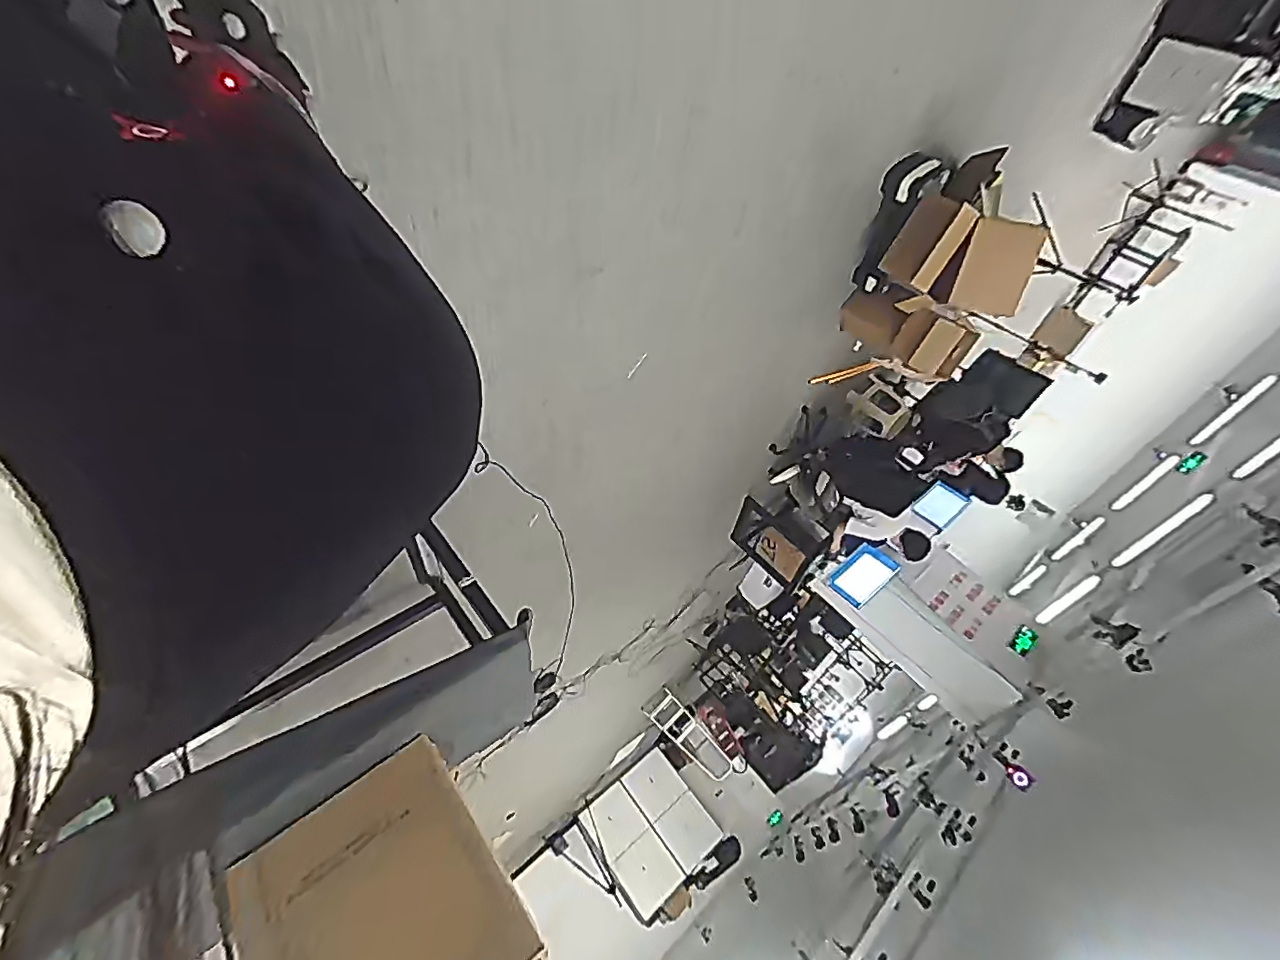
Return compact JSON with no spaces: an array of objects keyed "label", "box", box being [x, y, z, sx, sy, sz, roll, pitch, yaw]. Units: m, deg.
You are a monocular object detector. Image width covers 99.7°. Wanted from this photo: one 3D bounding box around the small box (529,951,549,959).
[{"label":"small box","box":[-0.260,1.267,1.282,0.168,0.176,0.179,-31,149,-26]}]
